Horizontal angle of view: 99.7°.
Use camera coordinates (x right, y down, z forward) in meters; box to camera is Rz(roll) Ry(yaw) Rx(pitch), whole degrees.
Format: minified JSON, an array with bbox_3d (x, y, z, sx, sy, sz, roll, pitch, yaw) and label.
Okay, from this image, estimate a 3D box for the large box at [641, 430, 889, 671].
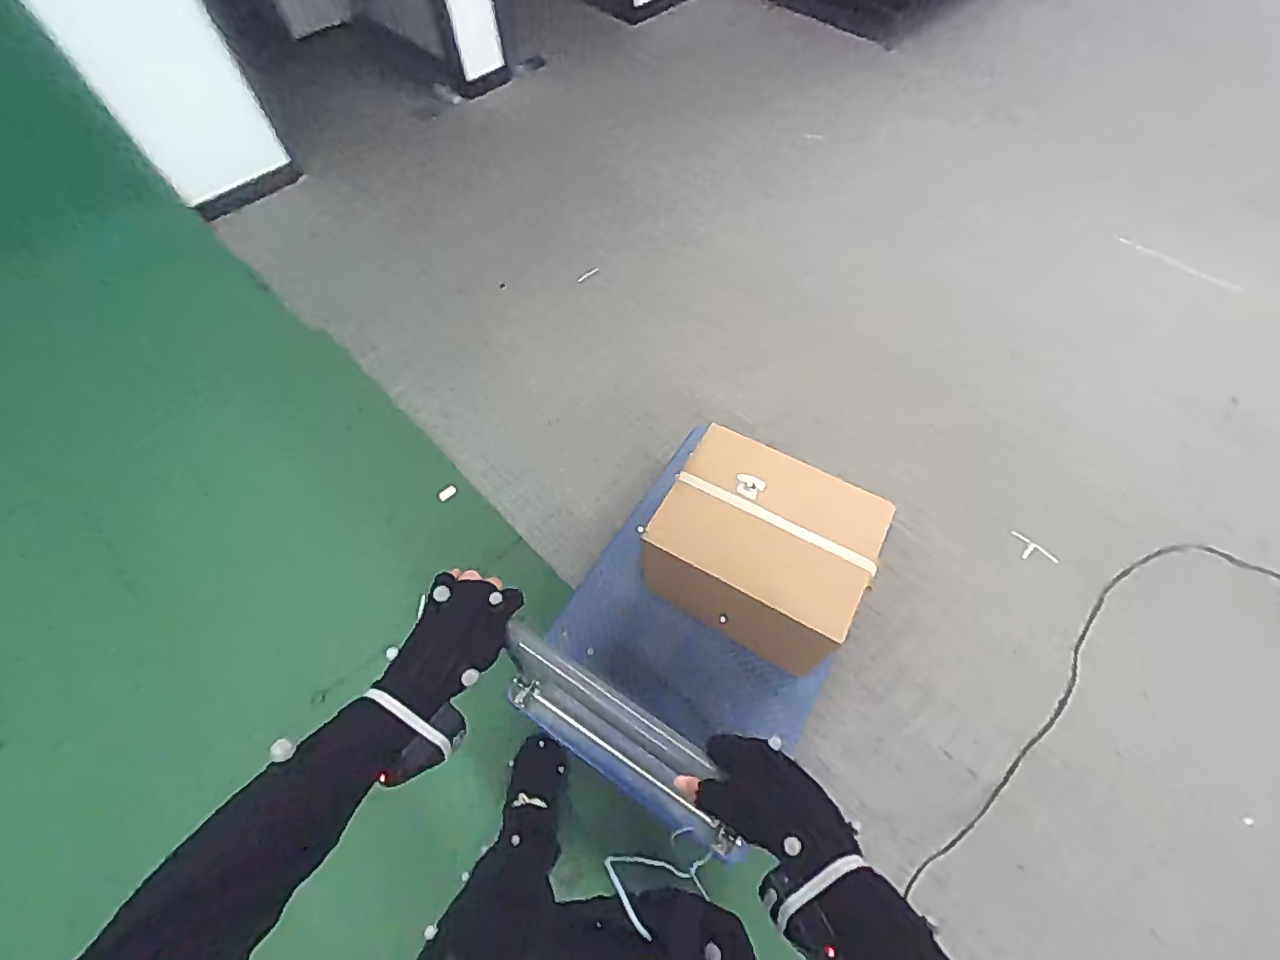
[{"bbox_3d":[0.253,0.159,1.178,0.408,0.320,0.320,25,63,16],"label":"large box"}]
